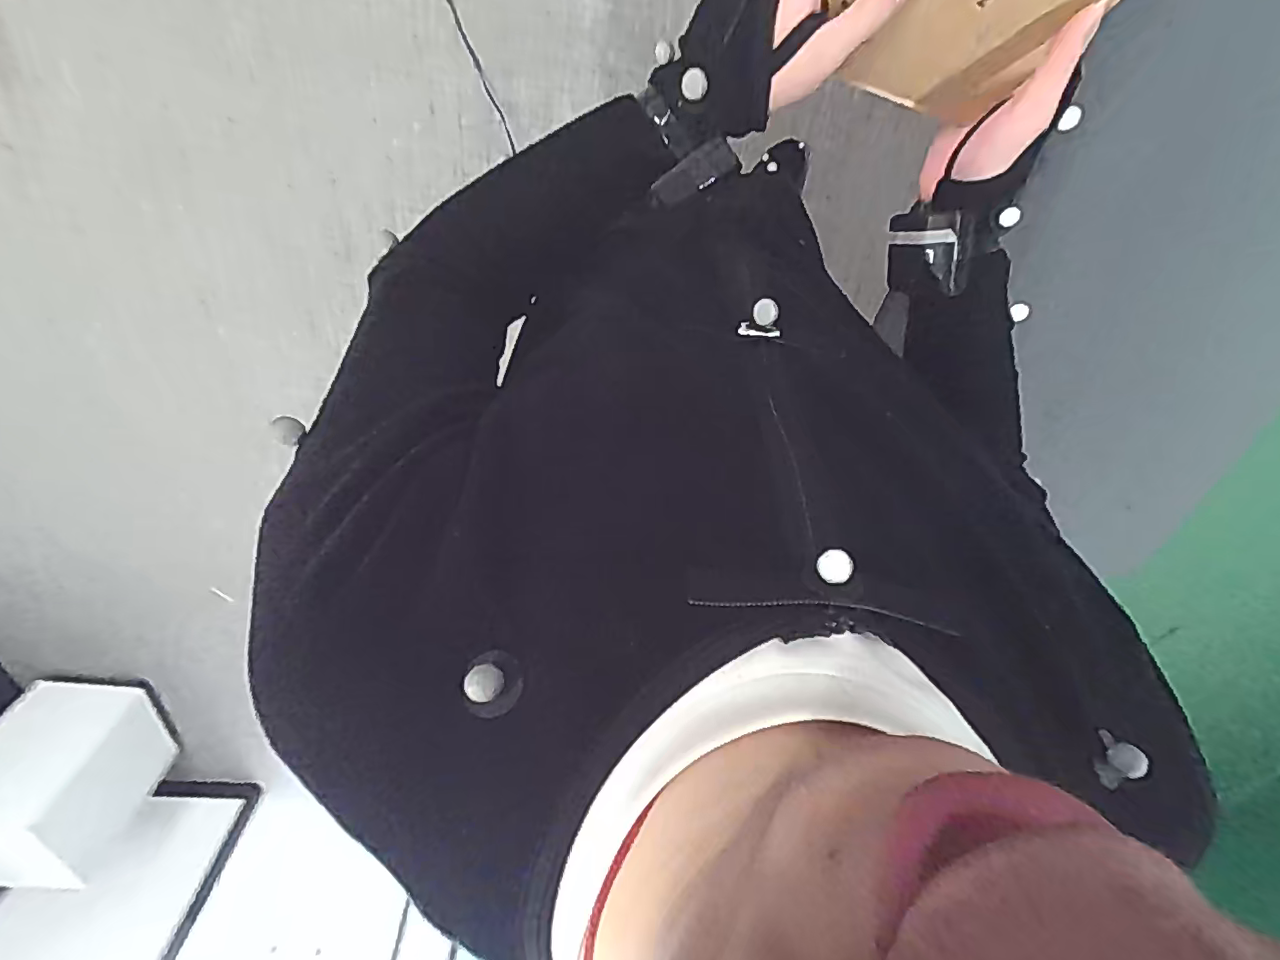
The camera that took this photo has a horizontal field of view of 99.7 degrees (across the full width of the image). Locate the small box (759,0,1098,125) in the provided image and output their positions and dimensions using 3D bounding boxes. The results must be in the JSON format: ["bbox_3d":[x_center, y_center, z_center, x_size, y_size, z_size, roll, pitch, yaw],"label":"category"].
[{"bbox_3d":[0.185,-0.365,0.321,0.179,0.176,0.168,1,168,-22],"label":"small box"}]
